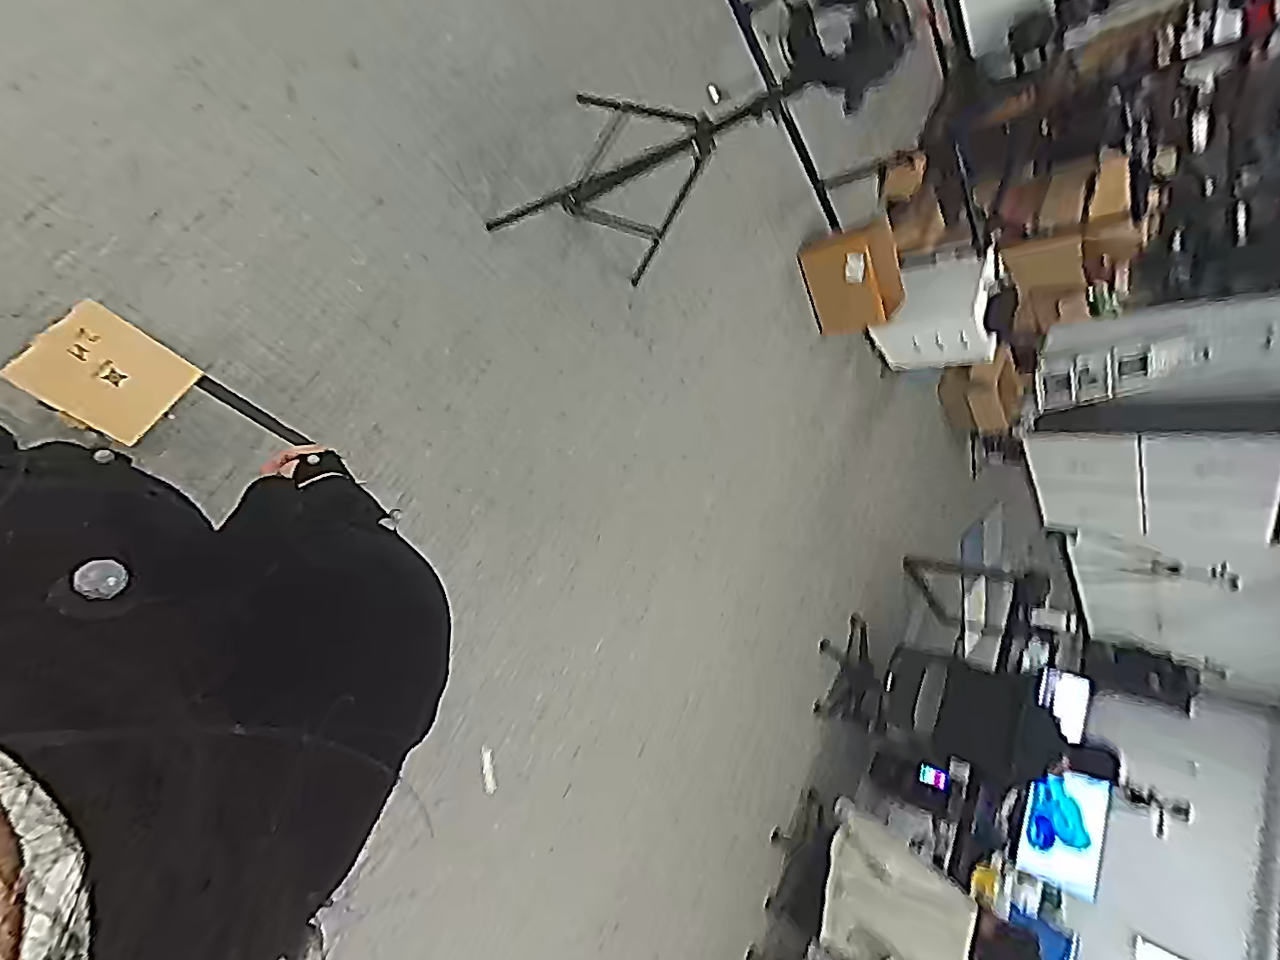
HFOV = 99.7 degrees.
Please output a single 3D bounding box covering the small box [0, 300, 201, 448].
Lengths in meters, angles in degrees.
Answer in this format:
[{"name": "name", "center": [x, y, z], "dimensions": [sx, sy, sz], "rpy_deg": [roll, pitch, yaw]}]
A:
[{"name": "small box", "center": [-0.895, -0.172, 0.912], "dimensions": [0.179, 0.176, 0.168], "rpy_deg": [45, 63, -35]}]
